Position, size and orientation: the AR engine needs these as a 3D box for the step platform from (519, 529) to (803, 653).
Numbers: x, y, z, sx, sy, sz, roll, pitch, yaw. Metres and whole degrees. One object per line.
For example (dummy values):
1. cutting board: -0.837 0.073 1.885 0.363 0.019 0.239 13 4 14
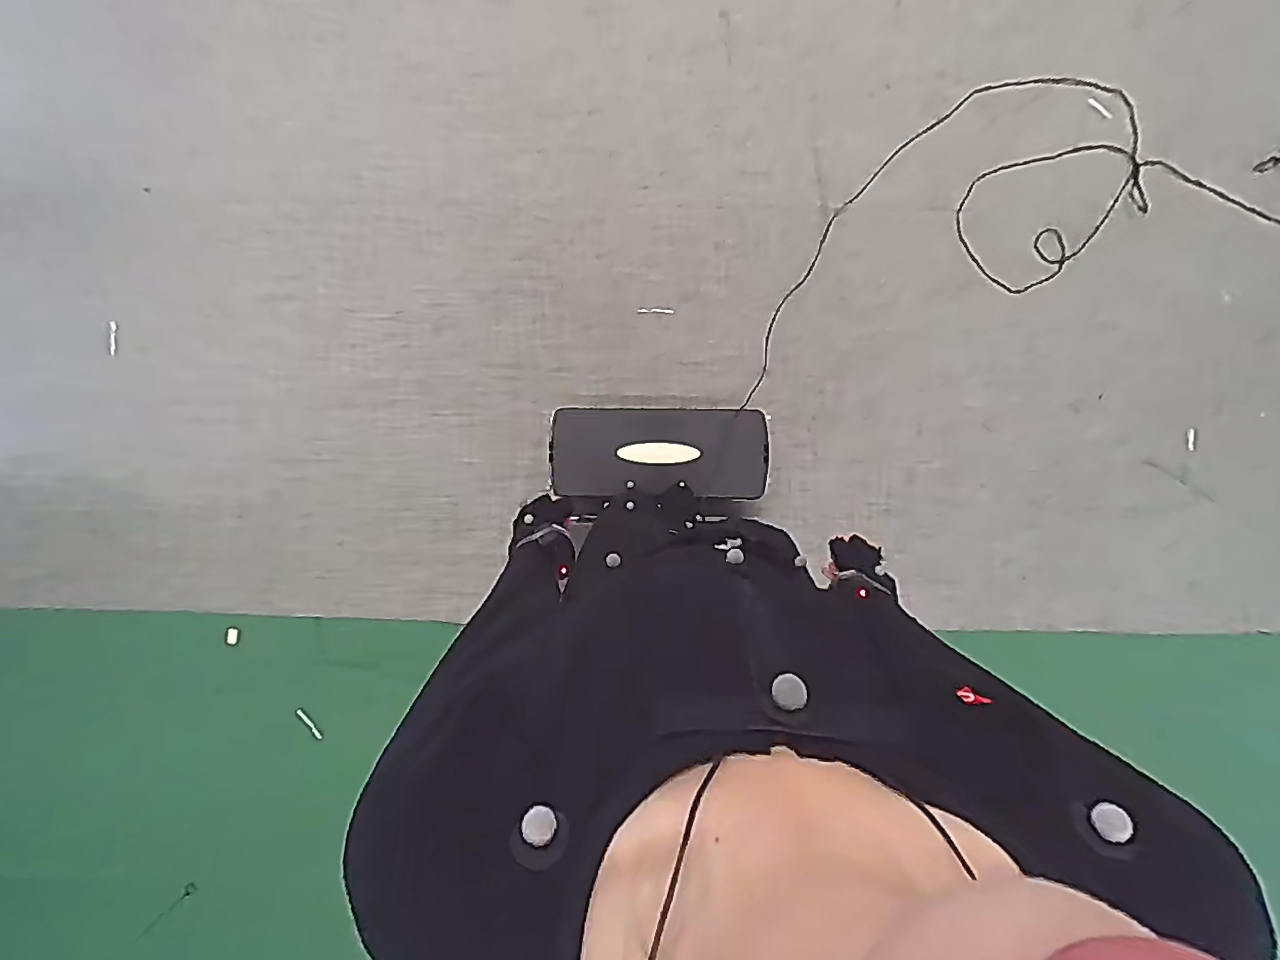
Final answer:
1. step platform: 0.050 0.272 1.392 0.684 0.204 0.286 1 88 0
